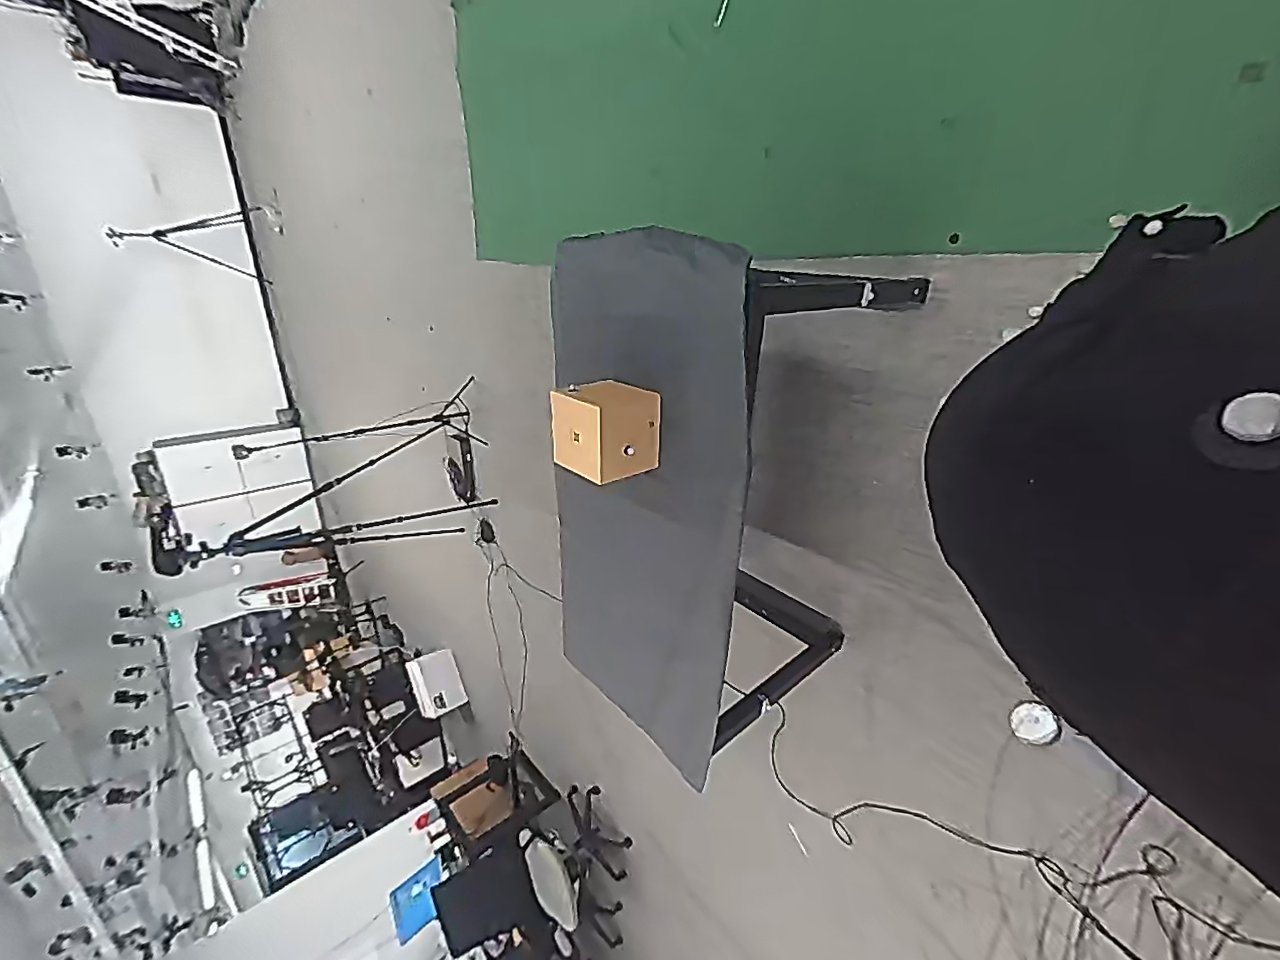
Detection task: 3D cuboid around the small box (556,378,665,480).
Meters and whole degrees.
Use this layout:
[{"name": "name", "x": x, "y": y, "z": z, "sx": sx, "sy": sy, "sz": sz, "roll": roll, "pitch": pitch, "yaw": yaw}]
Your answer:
[{"name": "small box", "x": -0.061, "y": -0.119, "z": 1.173, "sx": 0.179, "sy": 0.176, "sz": 0.168, "roll": 25, "pitch": 123, "yaw": 44}]
